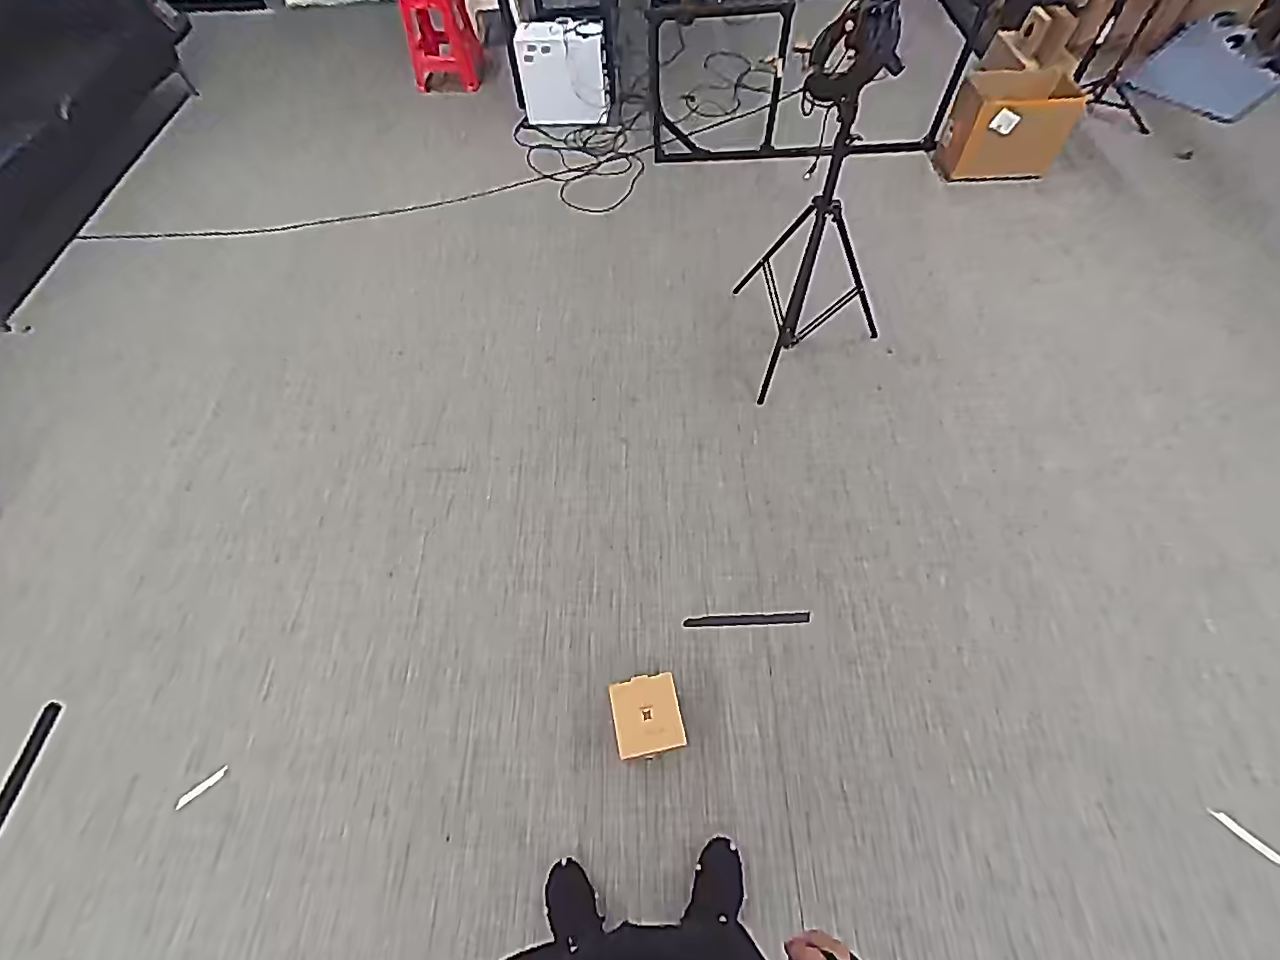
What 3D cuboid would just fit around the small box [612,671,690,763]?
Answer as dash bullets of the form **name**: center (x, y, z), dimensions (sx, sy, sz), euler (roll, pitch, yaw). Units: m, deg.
- **small box**: center (0.026, 0.611, 1.386), dimensions (0.168, 0.176, 0.179), euler (-11, 59, -3)
